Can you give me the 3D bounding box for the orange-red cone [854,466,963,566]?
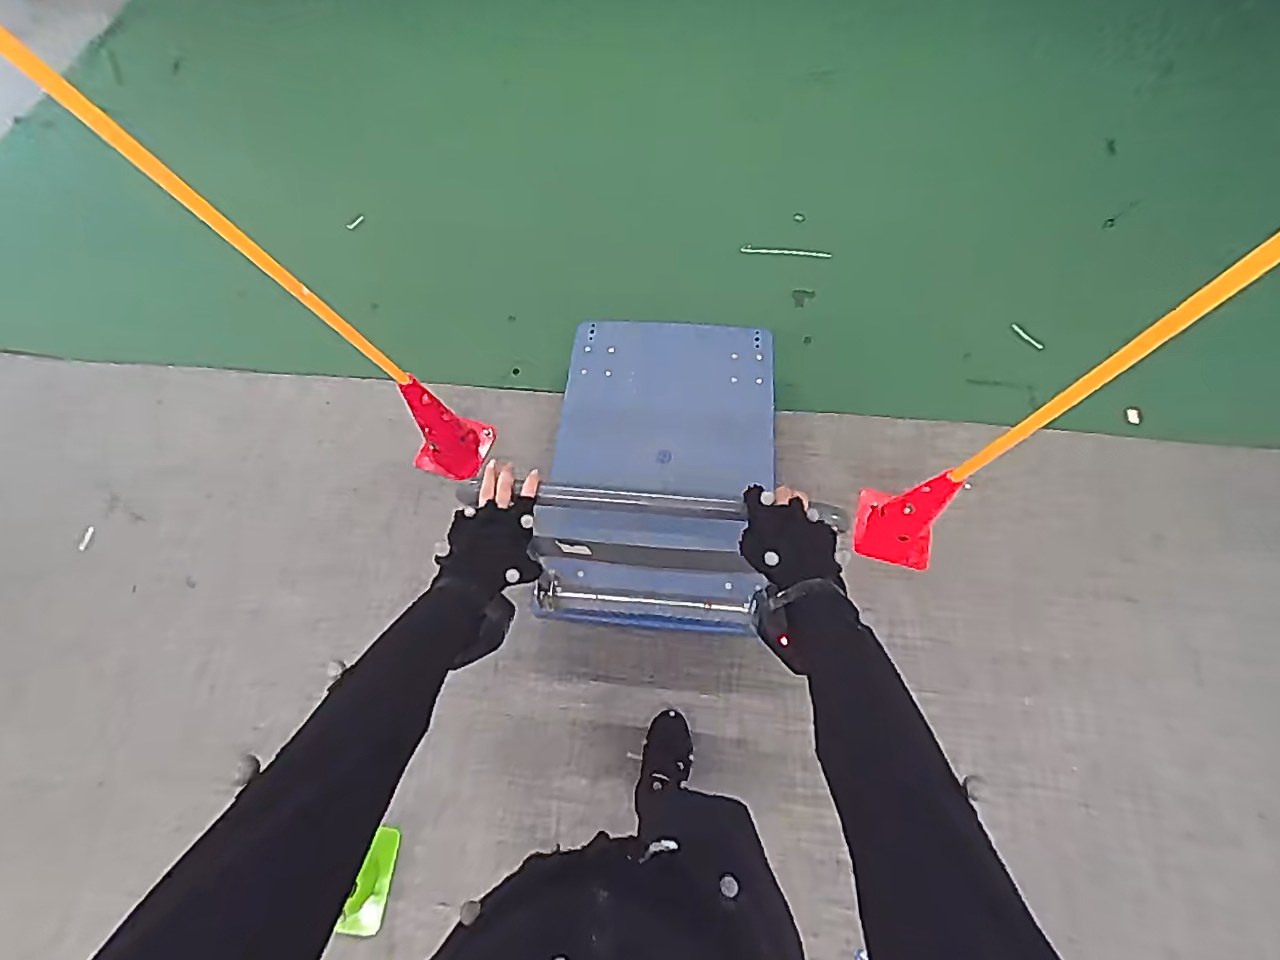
[{"bbox_3d":[0.689,0.057,1.324,0.198,0.360,0.199,15,69,10],"label":"orange-red cone"}]
